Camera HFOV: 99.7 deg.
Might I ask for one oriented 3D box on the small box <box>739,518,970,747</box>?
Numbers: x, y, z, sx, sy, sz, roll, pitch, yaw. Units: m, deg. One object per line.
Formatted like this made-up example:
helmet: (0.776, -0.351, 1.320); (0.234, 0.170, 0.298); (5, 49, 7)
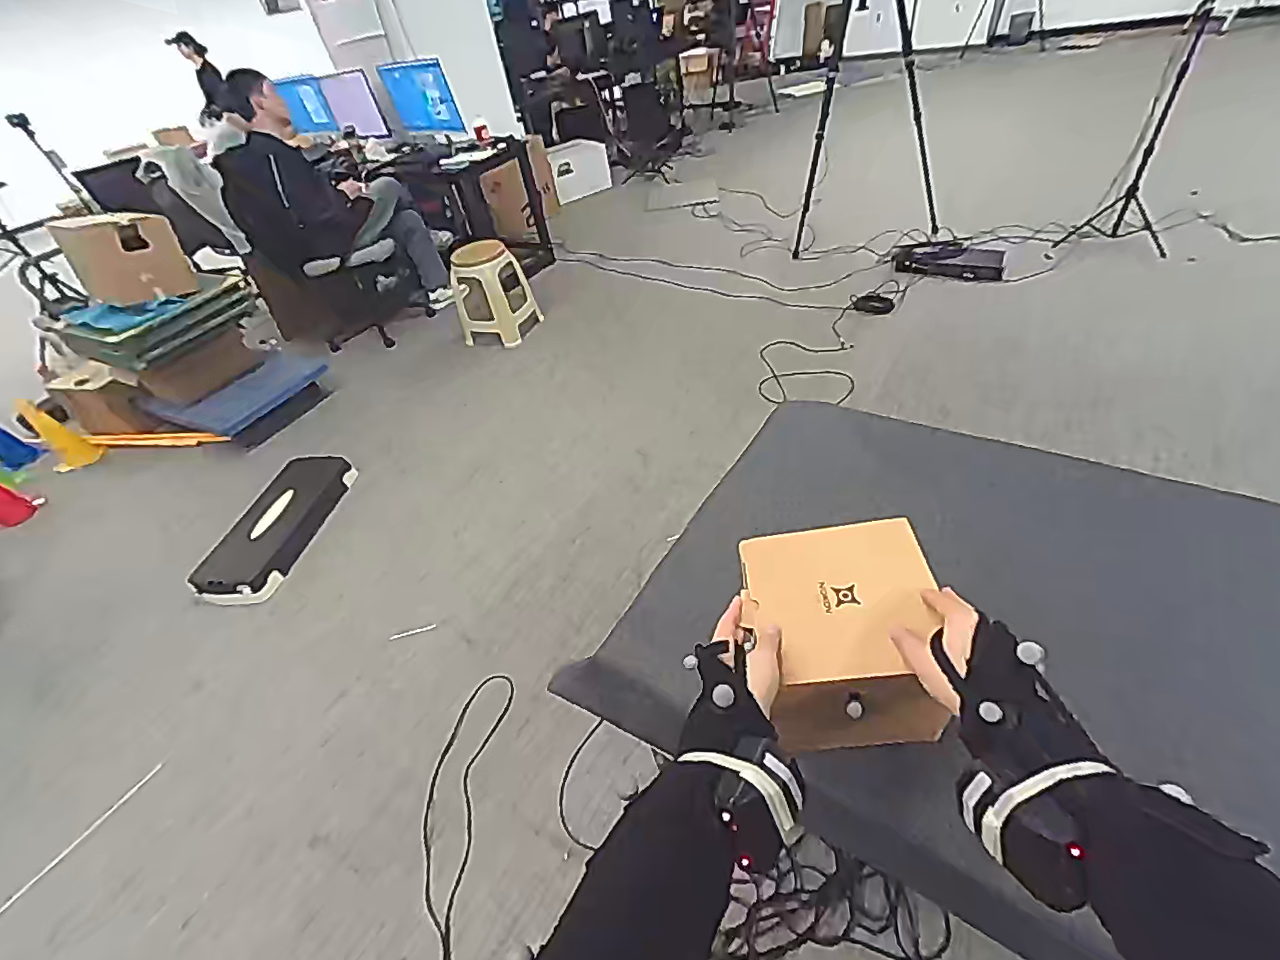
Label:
small box: (0.206, 0.164, 0.566); (0.179, 0.176, 0.168); (-9, 45, 10)
